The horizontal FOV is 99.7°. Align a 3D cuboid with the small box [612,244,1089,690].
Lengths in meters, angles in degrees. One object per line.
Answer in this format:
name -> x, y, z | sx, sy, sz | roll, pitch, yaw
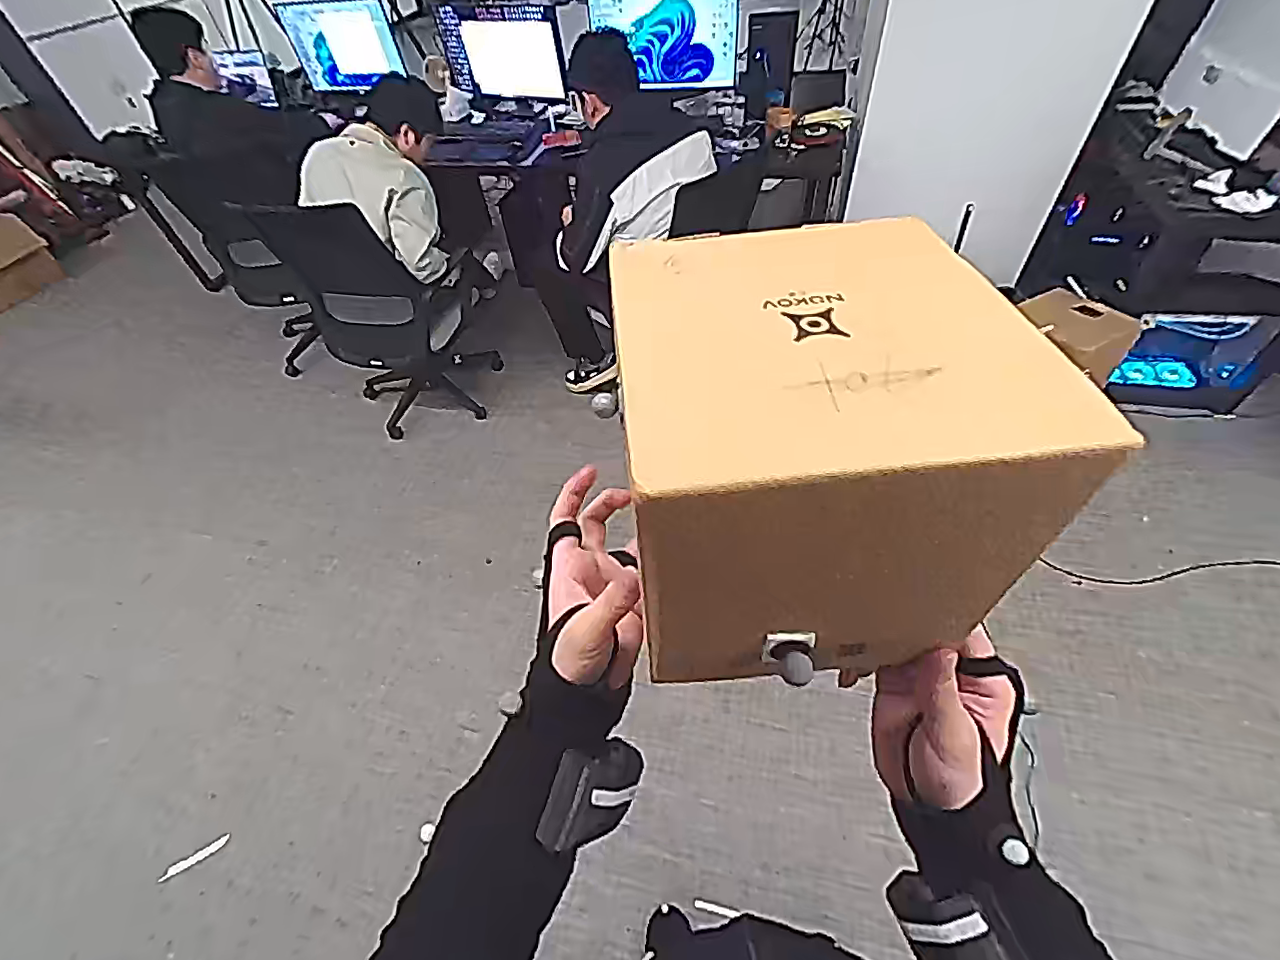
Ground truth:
small box -> 0.075, -0.006, 0.302 | 0.168, 0.176, 0.179 | -6, 48, 0
